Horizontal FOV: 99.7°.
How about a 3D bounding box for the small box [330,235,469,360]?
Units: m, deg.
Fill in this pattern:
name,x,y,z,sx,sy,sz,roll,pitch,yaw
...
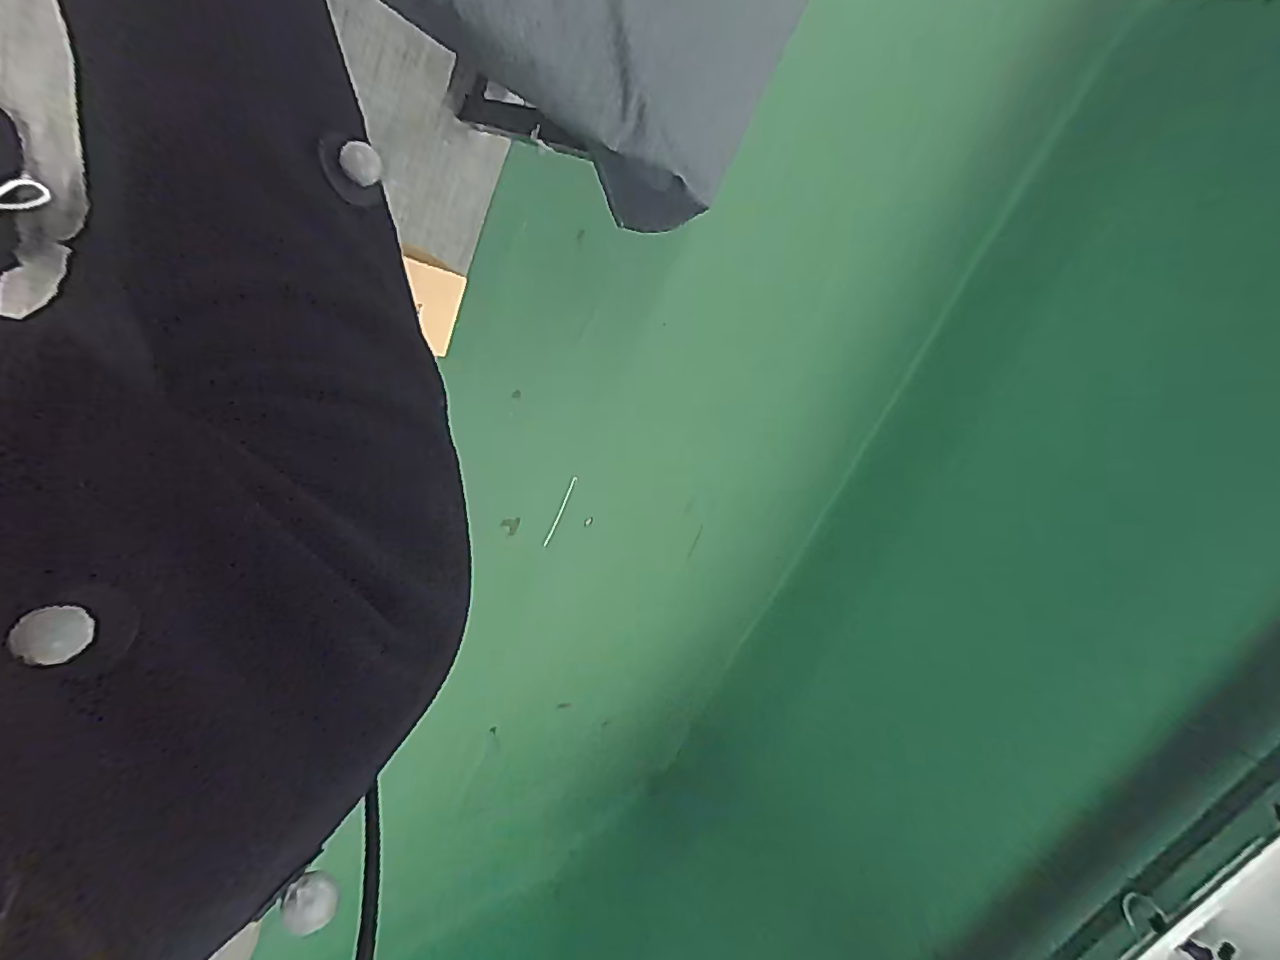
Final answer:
name,x,y,z,sx,sy,sz,roll,pitch,yaw
small box,-0.467,-0.352,1.046,0.179,0.176,0.168,1,119,-48
